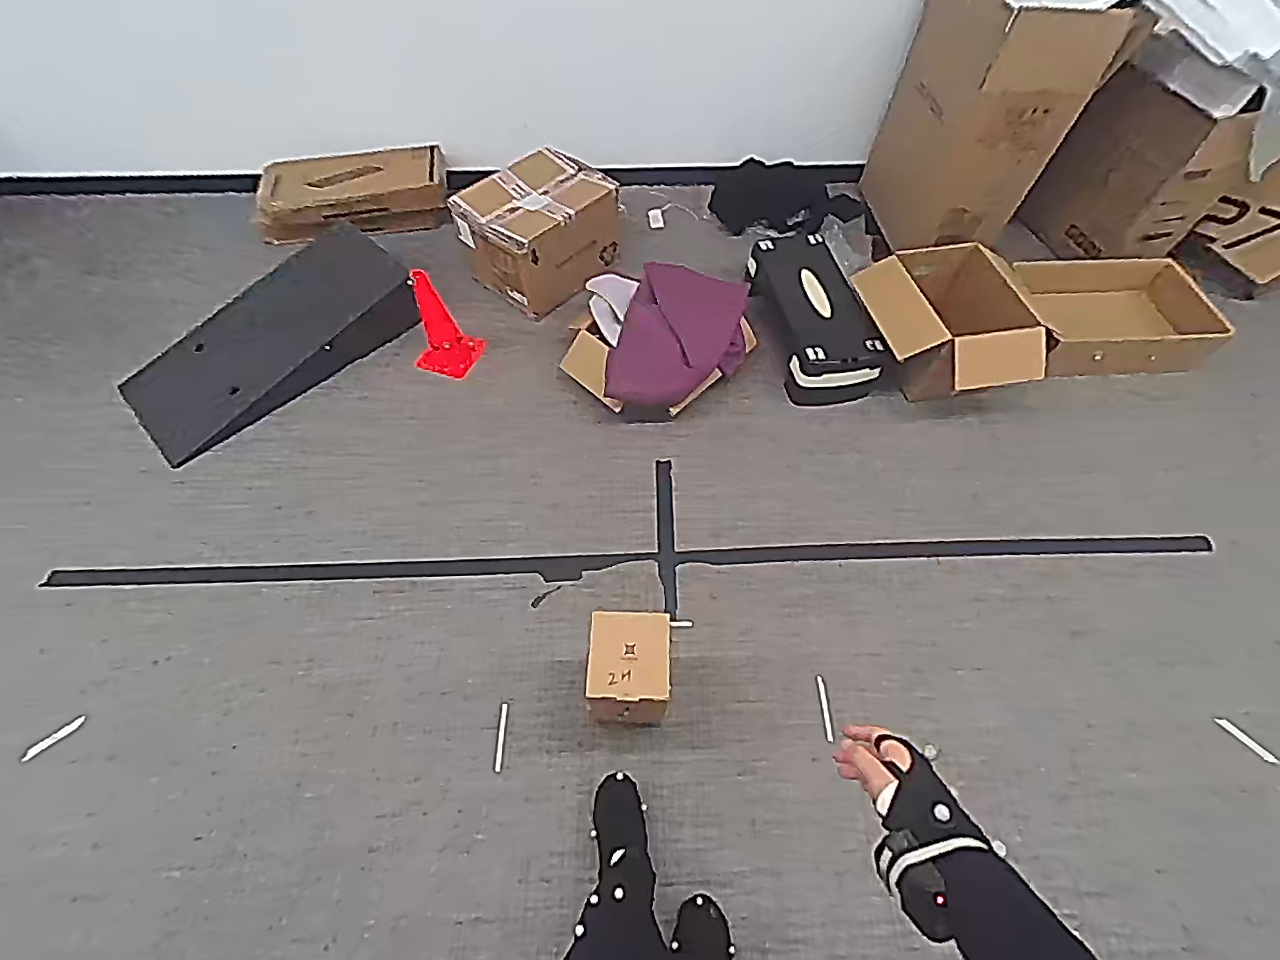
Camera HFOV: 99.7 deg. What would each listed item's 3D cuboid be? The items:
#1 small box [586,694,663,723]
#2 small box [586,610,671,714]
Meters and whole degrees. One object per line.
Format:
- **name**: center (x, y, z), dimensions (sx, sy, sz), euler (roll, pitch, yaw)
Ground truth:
- **small box**: center (-0.029, 0.483, 1.301), dimensions (0.179, 0.176, 0.168), euler (2, 59, 1)
- **small box**: center (-0.021, 0.393, 1.163), dimensions (0.168, 0.176, 0.179), euler (2, 59, 1)
